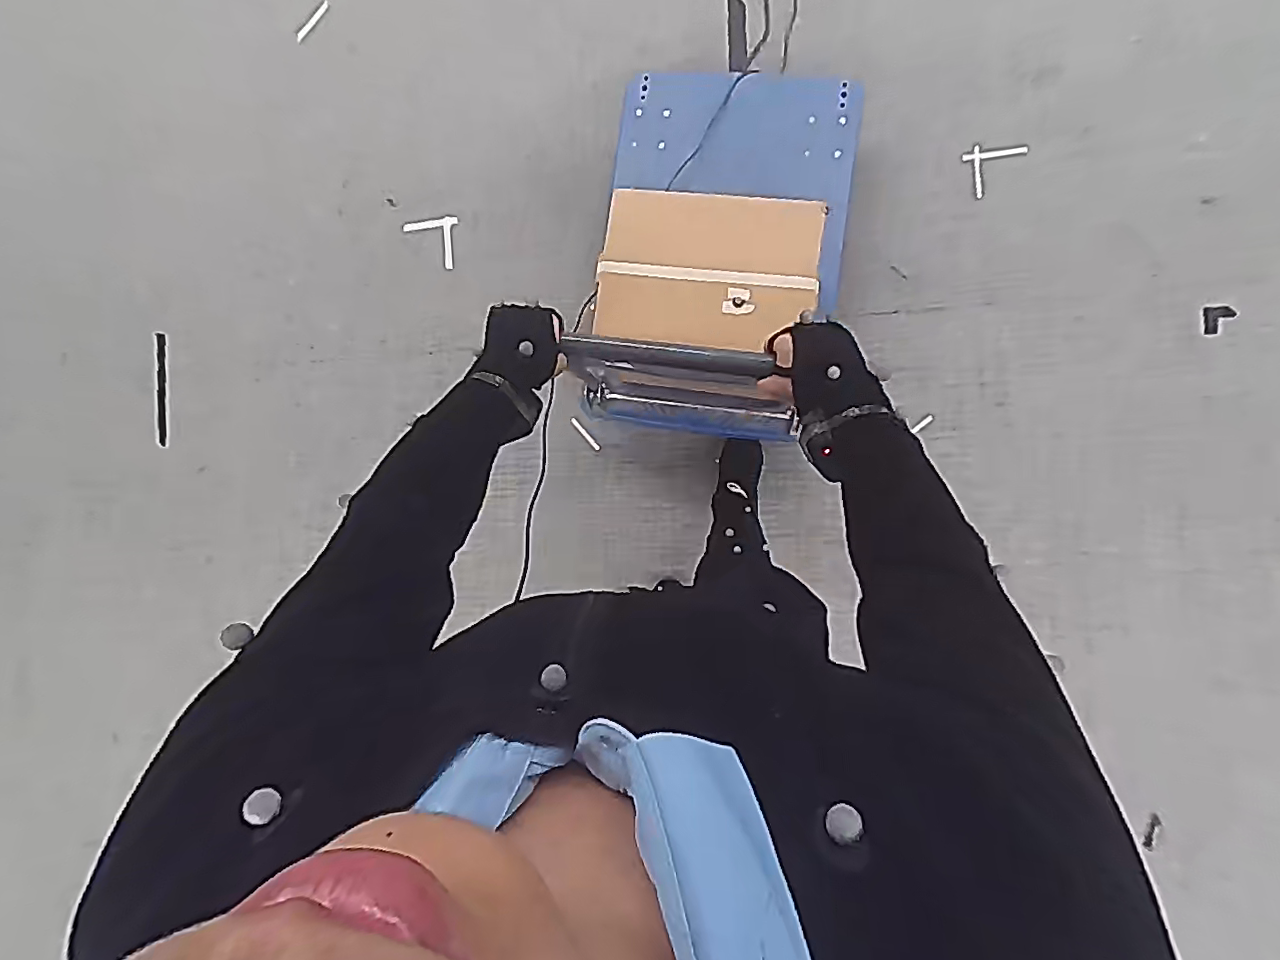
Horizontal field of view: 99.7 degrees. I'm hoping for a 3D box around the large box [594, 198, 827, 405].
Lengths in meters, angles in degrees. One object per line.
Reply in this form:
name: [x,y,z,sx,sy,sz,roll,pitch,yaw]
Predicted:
large box: [0.143,-0.355,1.147,0.408,0.320,0.320,8,89,7]
